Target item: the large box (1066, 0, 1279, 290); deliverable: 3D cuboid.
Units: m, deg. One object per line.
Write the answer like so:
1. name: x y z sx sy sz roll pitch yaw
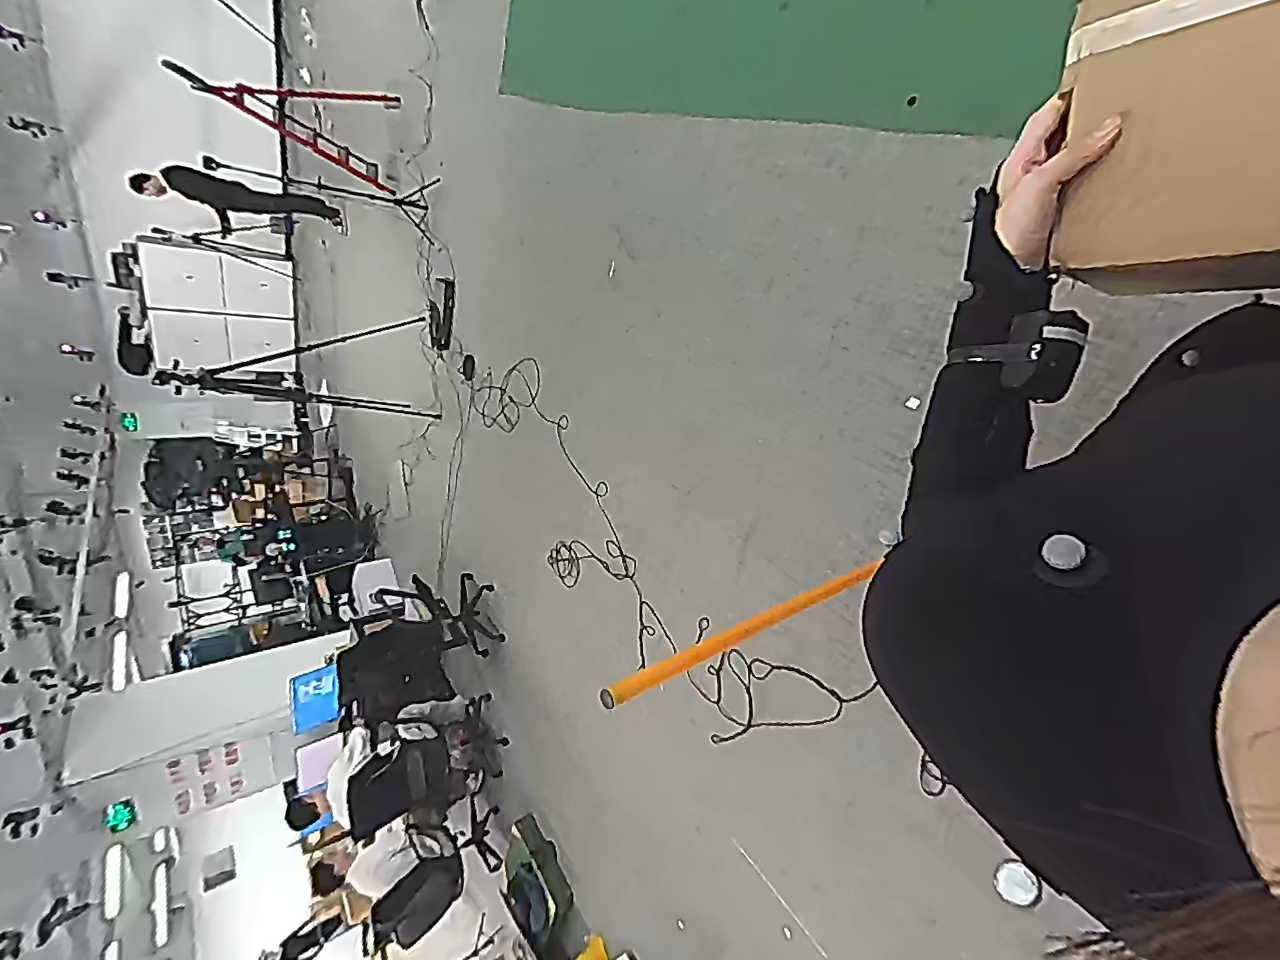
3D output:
1. large box: 0.573 -0.318 0.356 0.408 0.320 0.320 12 108 44
